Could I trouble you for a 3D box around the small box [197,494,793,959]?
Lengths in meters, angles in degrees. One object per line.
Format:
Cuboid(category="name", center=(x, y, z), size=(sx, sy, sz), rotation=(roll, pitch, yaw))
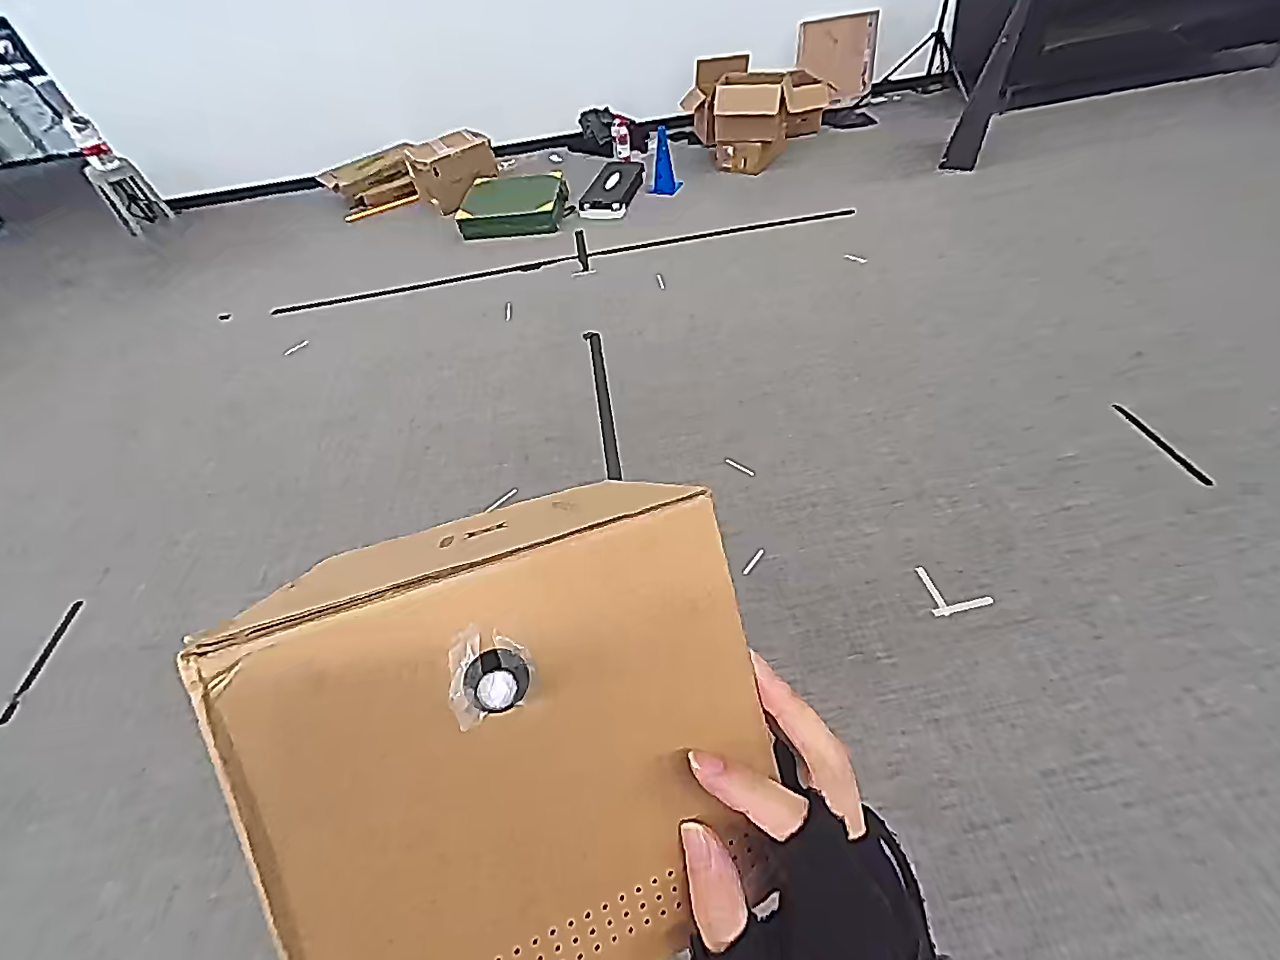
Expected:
Cuboid(category="small box", center=(-0.053, 0.112, 0.264), size=(0.179, 0.176, 0.168), rotation=(-15, 6, -15))
